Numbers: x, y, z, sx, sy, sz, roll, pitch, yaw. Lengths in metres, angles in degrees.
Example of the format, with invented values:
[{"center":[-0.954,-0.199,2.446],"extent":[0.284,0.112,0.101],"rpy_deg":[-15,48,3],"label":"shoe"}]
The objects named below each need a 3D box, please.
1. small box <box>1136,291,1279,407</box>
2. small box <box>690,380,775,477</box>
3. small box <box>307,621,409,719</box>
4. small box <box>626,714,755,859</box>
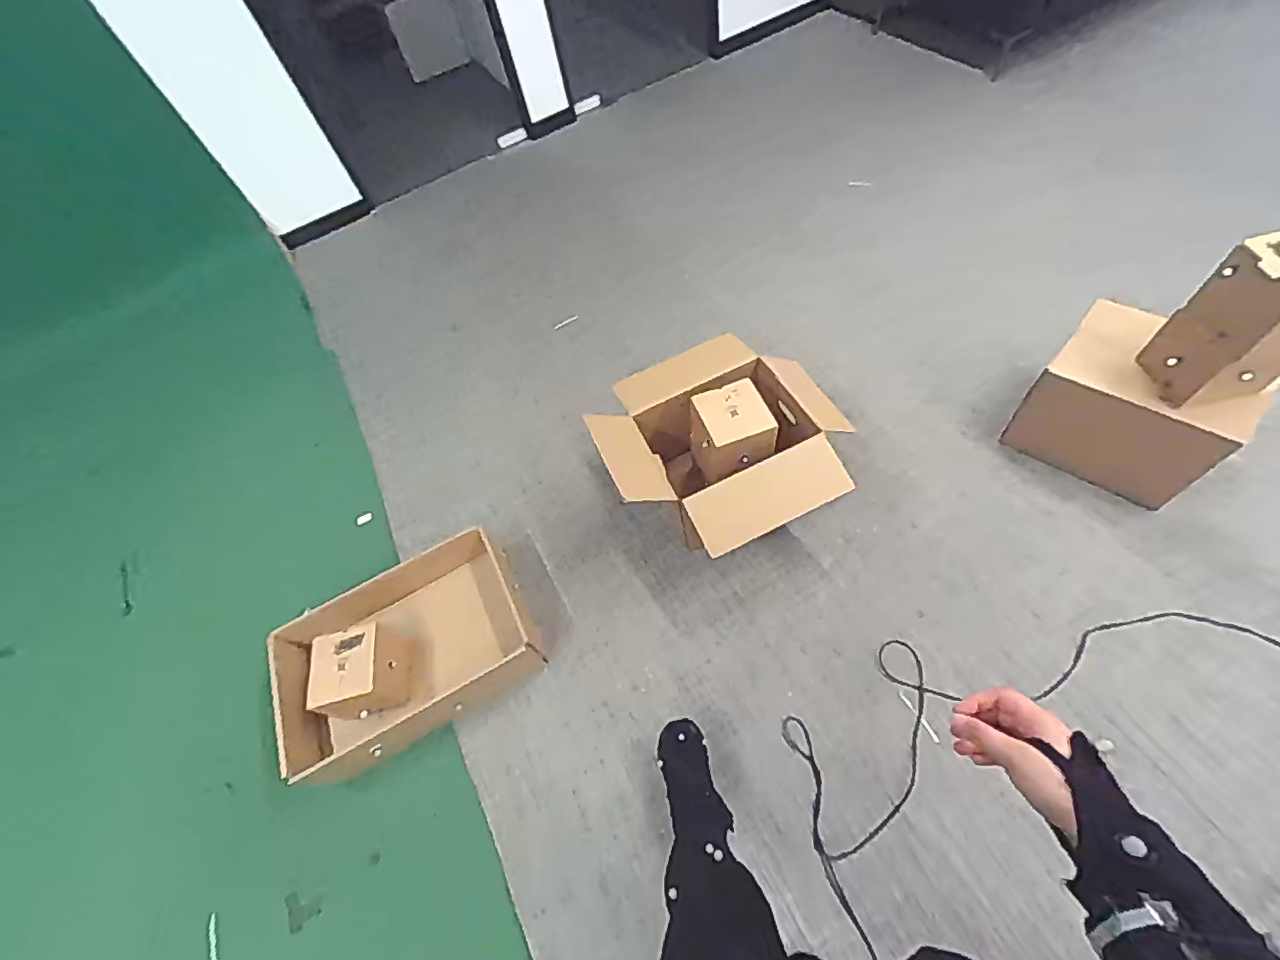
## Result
[{"center":[1.270,-0.284,1.204],"extent":[0.179,0.176,0.168],"rpy_deg":[-12,58,5],"label":"small box"},{"center":[0.241,-0.128,1.434],"extent":[0.168,0.176,0.179],"rpy_deg":[-19,57,-6],"label":"small box"},{"center":[-0.708,0.487,1.378],"extent":[0.168,0.176,0.179],"rpy_deg":[-15,56,0],"label":"small box"},{"center":[0.112,0.627,1.119],"extent":[0.179,0.176,0.168],"rpy_deg":[-51,20,-26],"label":"small box"}]
